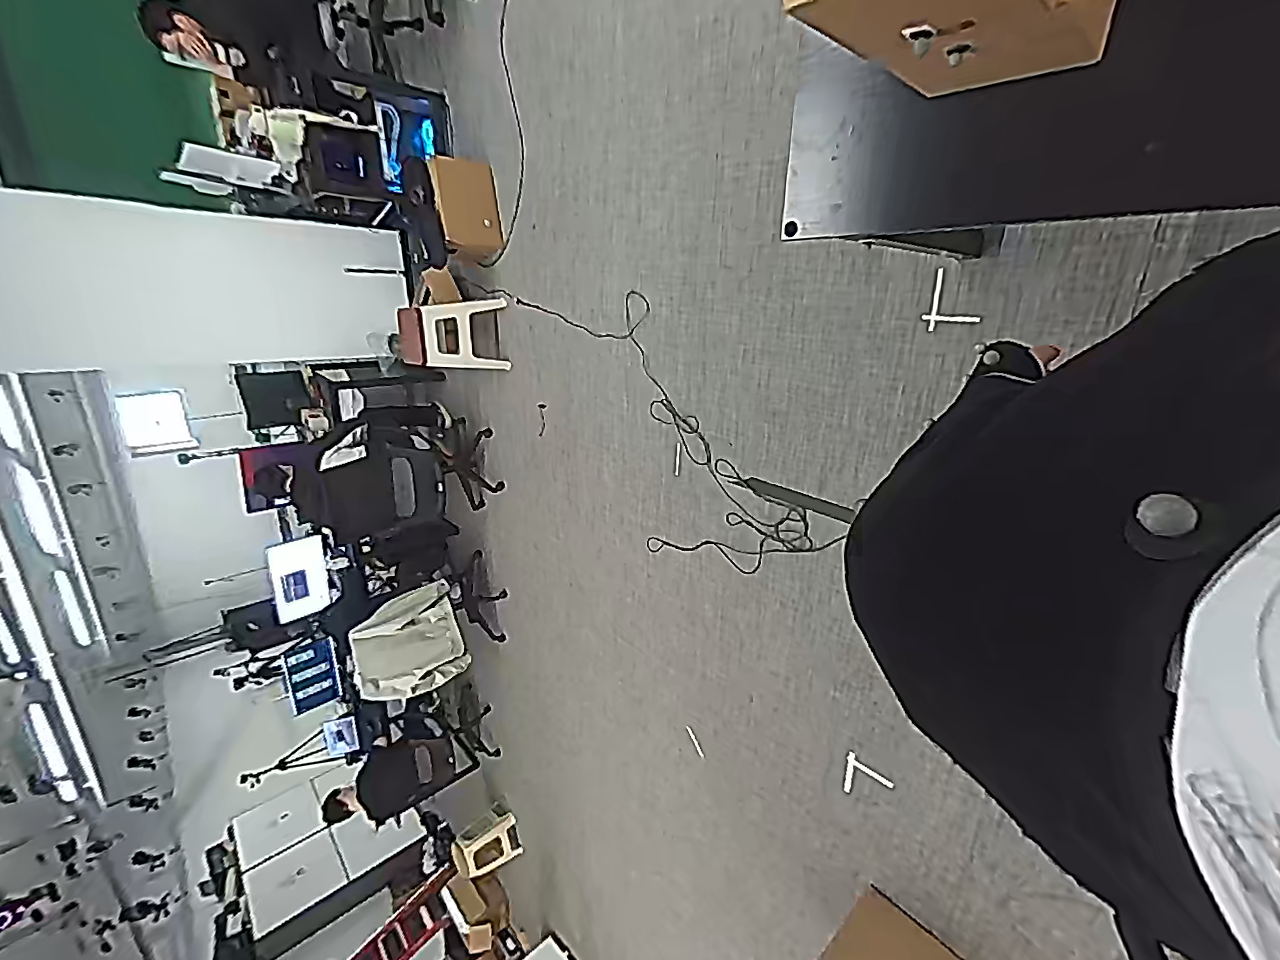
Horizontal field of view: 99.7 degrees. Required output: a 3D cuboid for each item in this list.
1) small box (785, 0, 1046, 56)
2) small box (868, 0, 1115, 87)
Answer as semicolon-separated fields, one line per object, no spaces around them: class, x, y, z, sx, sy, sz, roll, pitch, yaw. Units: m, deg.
small box;0.241;-0.492;0.441;0.168;0.176;0.179;22;118;46
small box;0.364;-0.525;0.542;0.179;0.176;0.168;22;117;43
